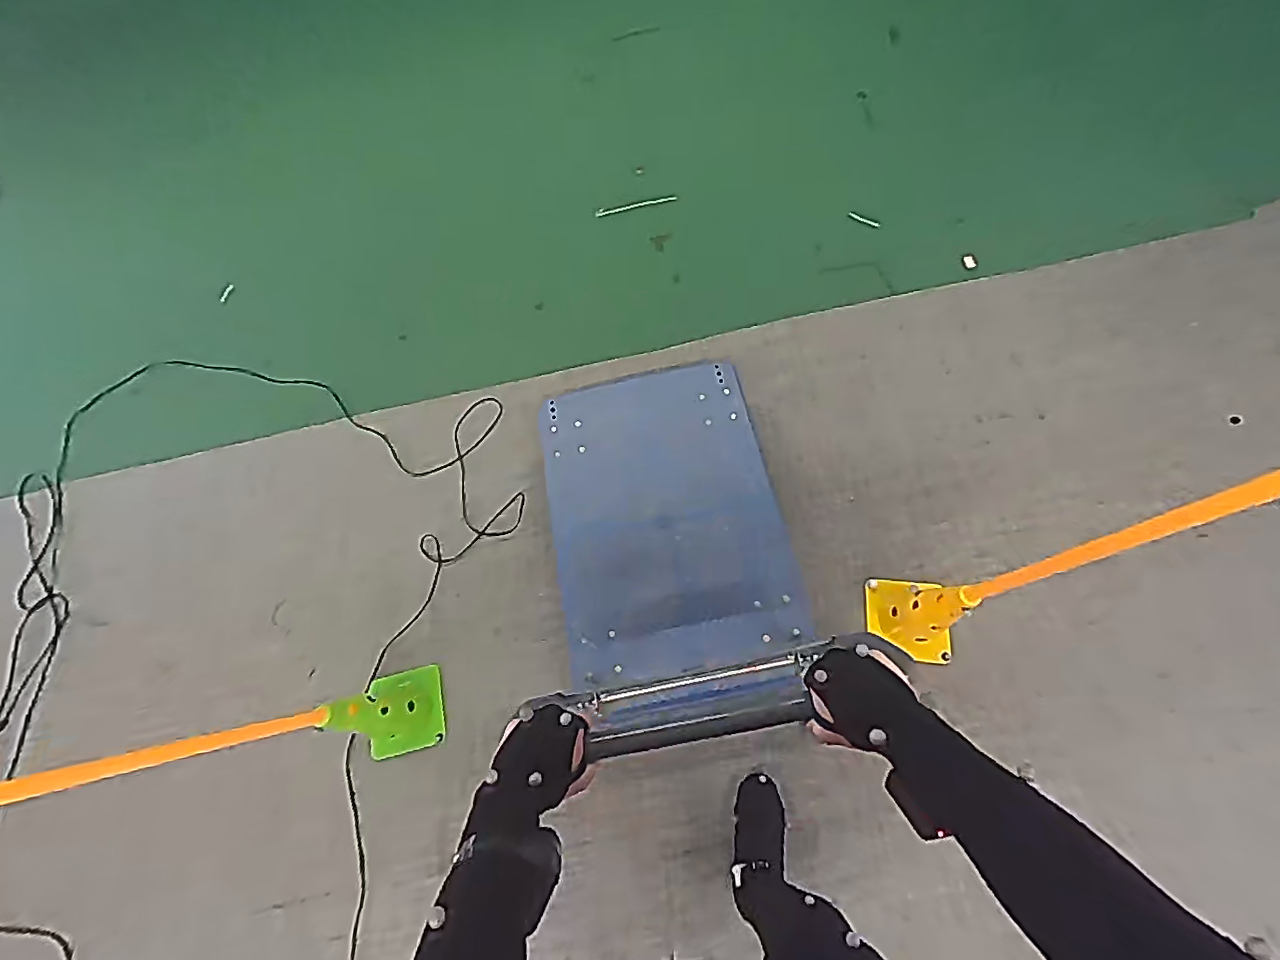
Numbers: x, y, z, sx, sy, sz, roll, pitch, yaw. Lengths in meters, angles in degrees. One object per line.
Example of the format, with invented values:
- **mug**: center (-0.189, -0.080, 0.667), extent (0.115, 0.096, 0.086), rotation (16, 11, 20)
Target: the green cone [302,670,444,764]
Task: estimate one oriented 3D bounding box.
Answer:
- **green cone**: center (-0.640, 0.555, 1.263), extent (0.202, 0.368, 0.200), rotation (-16, 67, 2)
